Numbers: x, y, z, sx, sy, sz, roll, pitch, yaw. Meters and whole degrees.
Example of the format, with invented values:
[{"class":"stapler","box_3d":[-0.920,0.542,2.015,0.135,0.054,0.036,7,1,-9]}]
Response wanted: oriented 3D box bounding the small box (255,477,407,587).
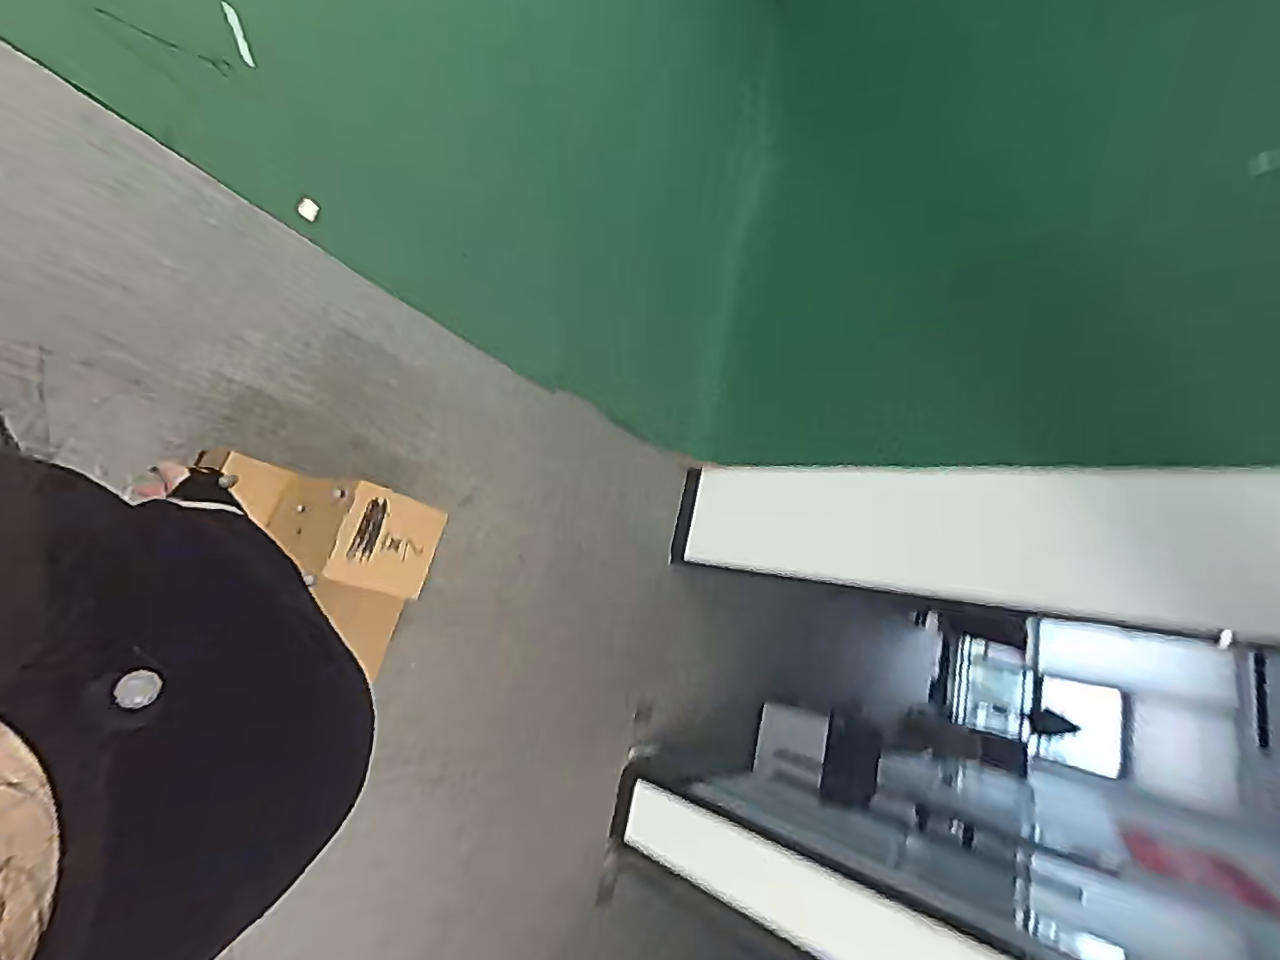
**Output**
[{"class":"small box","box_3d":[-0.614,0.099,1.080,0.179,0.176,0.168,39,61,-46]}]
